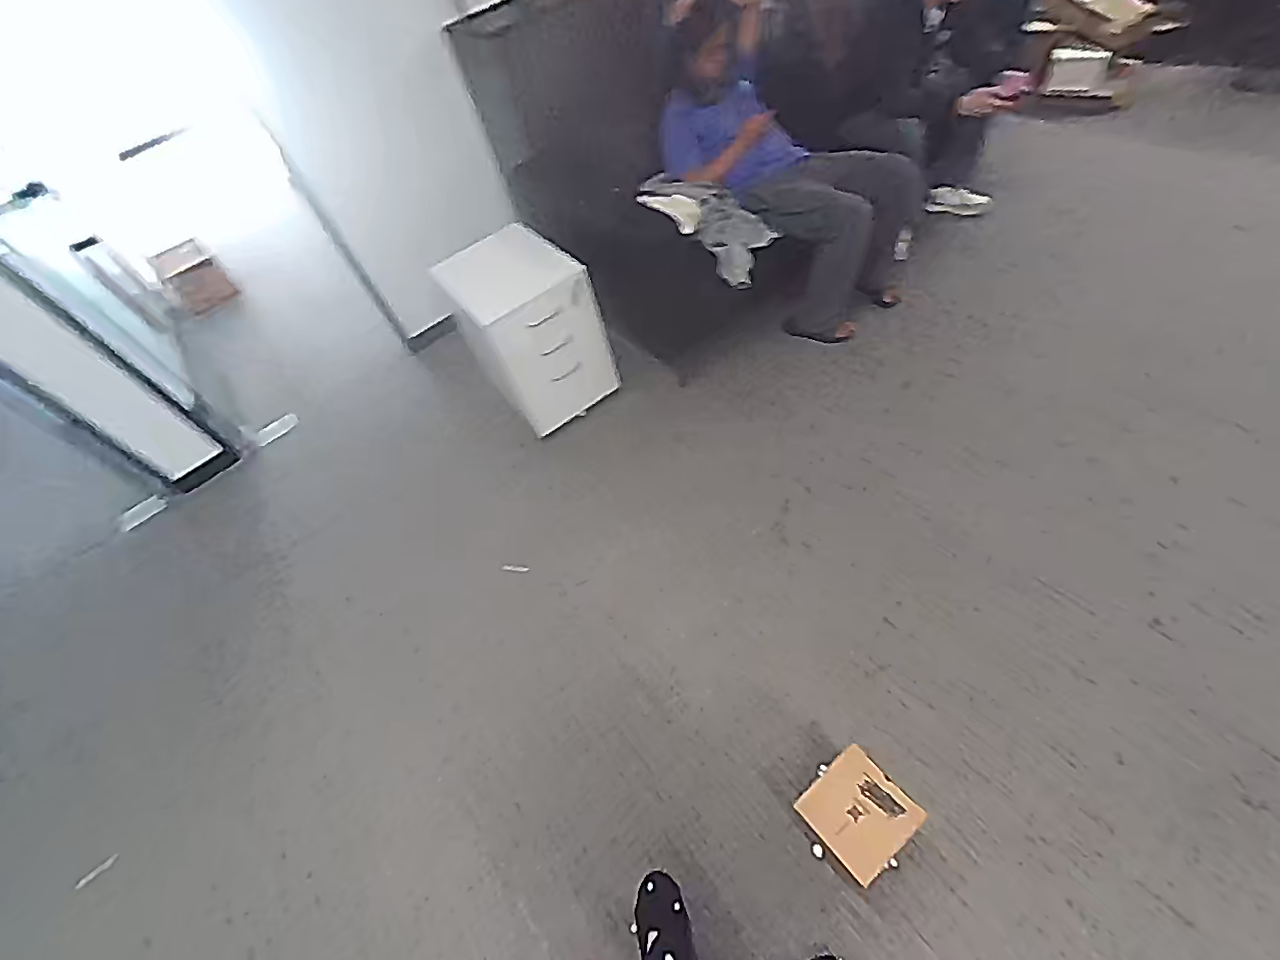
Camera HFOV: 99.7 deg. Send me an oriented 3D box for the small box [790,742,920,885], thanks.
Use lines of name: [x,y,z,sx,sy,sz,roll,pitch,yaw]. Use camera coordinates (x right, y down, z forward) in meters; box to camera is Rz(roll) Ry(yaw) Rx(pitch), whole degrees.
small box: [0.413,0.663,1.074,0.179,0.176,0.168,-33,52,-14]
